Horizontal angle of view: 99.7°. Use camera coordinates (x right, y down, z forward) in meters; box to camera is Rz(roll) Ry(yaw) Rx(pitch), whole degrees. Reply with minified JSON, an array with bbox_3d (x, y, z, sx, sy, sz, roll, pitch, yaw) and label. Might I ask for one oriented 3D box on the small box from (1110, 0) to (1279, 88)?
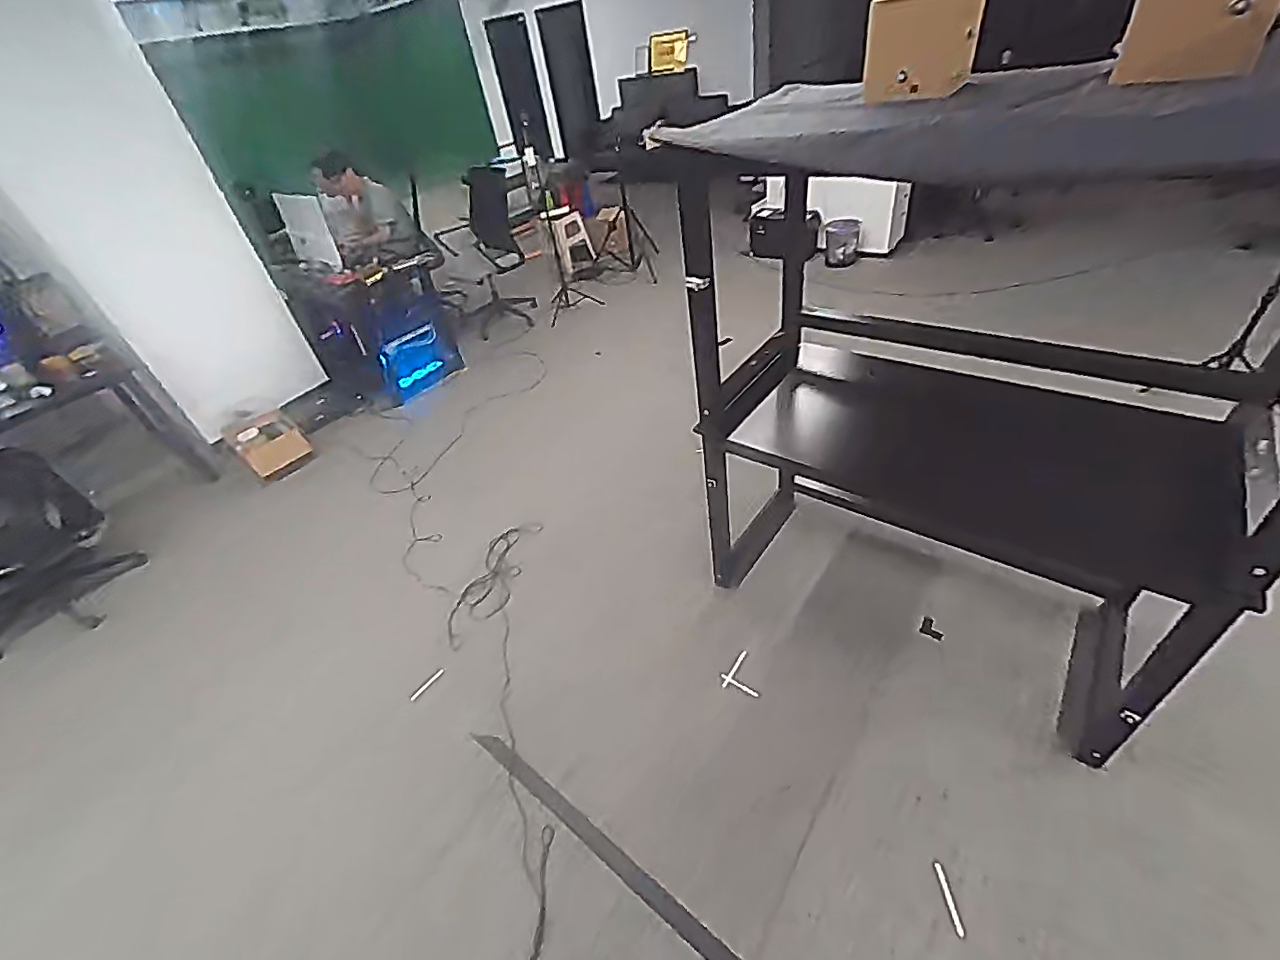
[{"bbox_3d":[0.912,-0.750,0.871,0.179,0.176,0.168,24,50,34],"label":"small box"}]
